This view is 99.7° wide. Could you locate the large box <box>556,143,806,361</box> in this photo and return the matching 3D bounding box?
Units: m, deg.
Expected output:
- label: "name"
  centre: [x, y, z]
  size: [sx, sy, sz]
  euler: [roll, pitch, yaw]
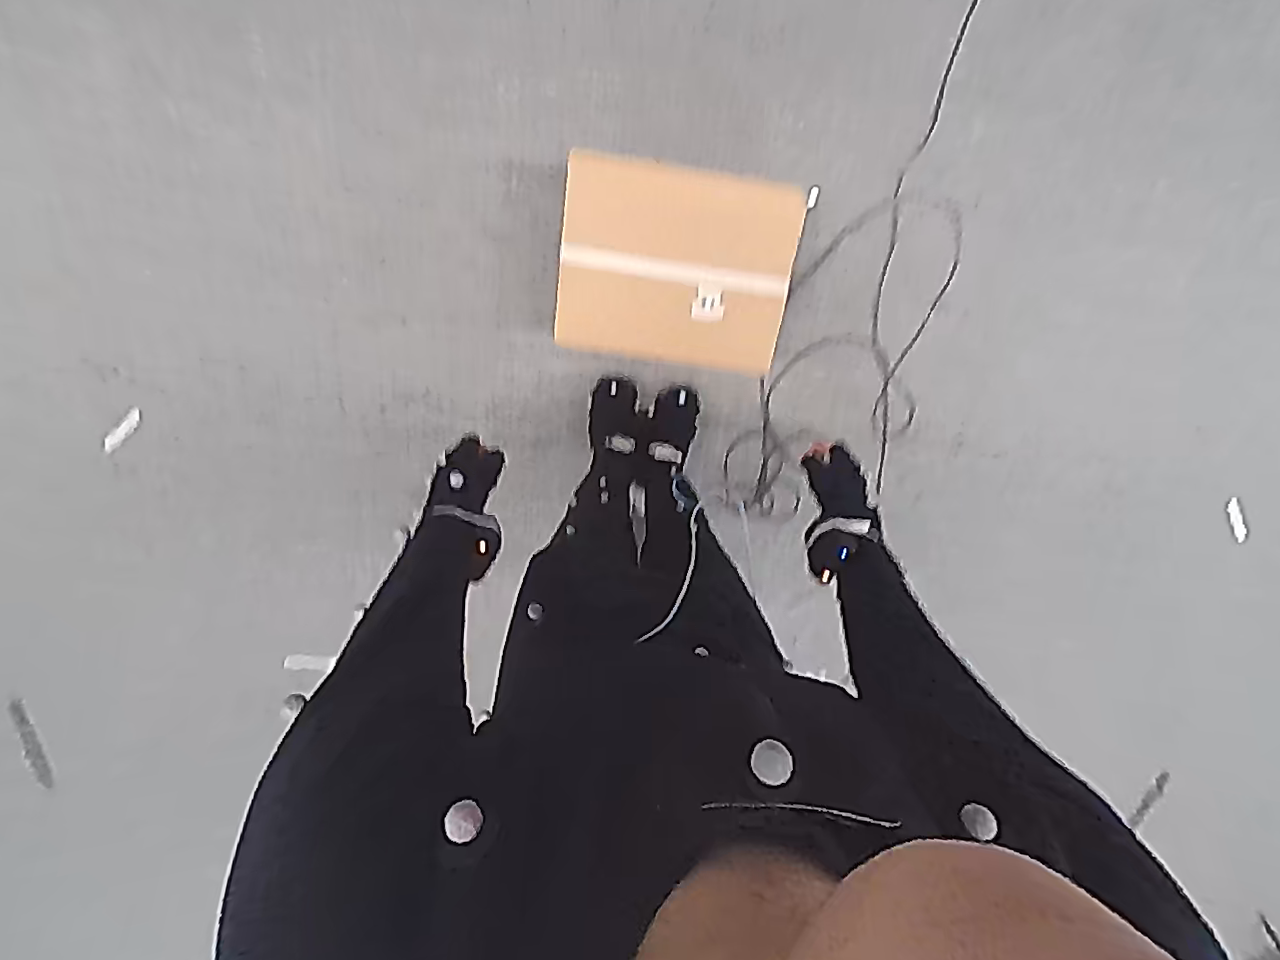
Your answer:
- label: "large box"
  centre: [0.057, -0.441, 1.082]
  size: [0.408, 0.320, 0.320]
  euler: [8, 113, -4]
